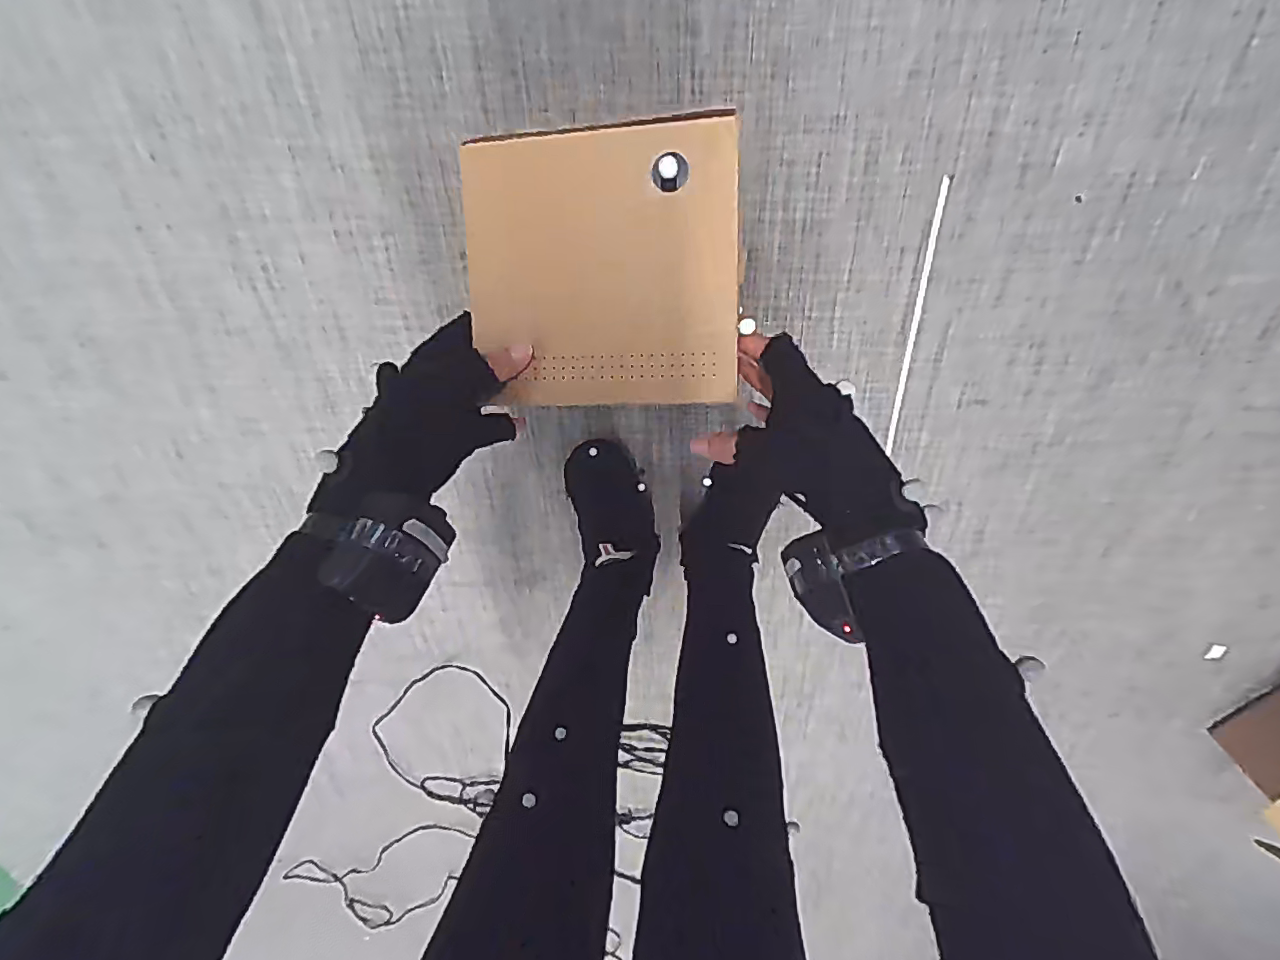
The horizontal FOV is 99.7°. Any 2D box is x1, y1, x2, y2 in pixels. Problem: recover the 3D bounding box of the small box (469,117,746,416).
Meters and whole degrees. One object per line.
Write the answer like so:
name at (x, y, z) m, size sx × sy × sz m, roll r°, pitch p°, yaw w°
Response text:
small box at (-0.009, -0.136, 0.414) m, size 0.179 × 0.168 × 0.176 m, roll 1°, pitch 98°, yaw 11°
